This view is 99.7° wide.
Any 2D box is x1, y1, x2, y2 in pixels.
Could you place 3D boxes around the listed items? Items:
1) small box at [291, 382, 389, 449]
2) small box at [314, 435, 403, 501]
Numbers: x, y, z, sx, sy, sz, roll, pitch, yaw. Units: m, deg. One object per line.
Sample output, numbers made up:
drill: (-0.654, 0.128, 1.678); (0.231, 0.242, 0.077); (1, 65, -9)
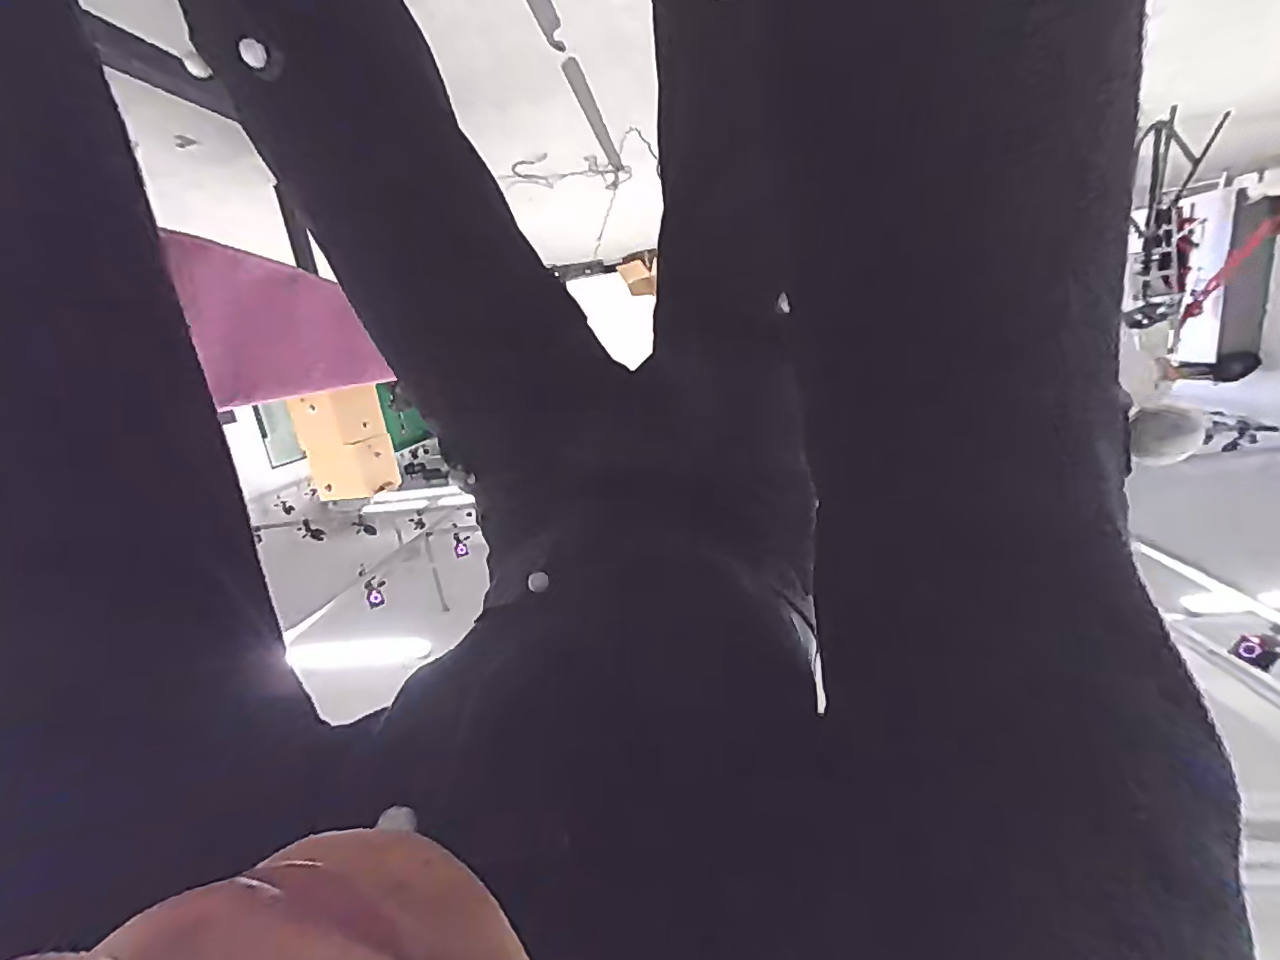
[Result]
small box: (-0.896, -0.196, 1.619); (0.168, 0.176, 0.179); (-3, -166, 19)
small box: (-0.877, -0.043, 1.682); (0.179, 0.176, 0.168); (-4, -165, 14)
